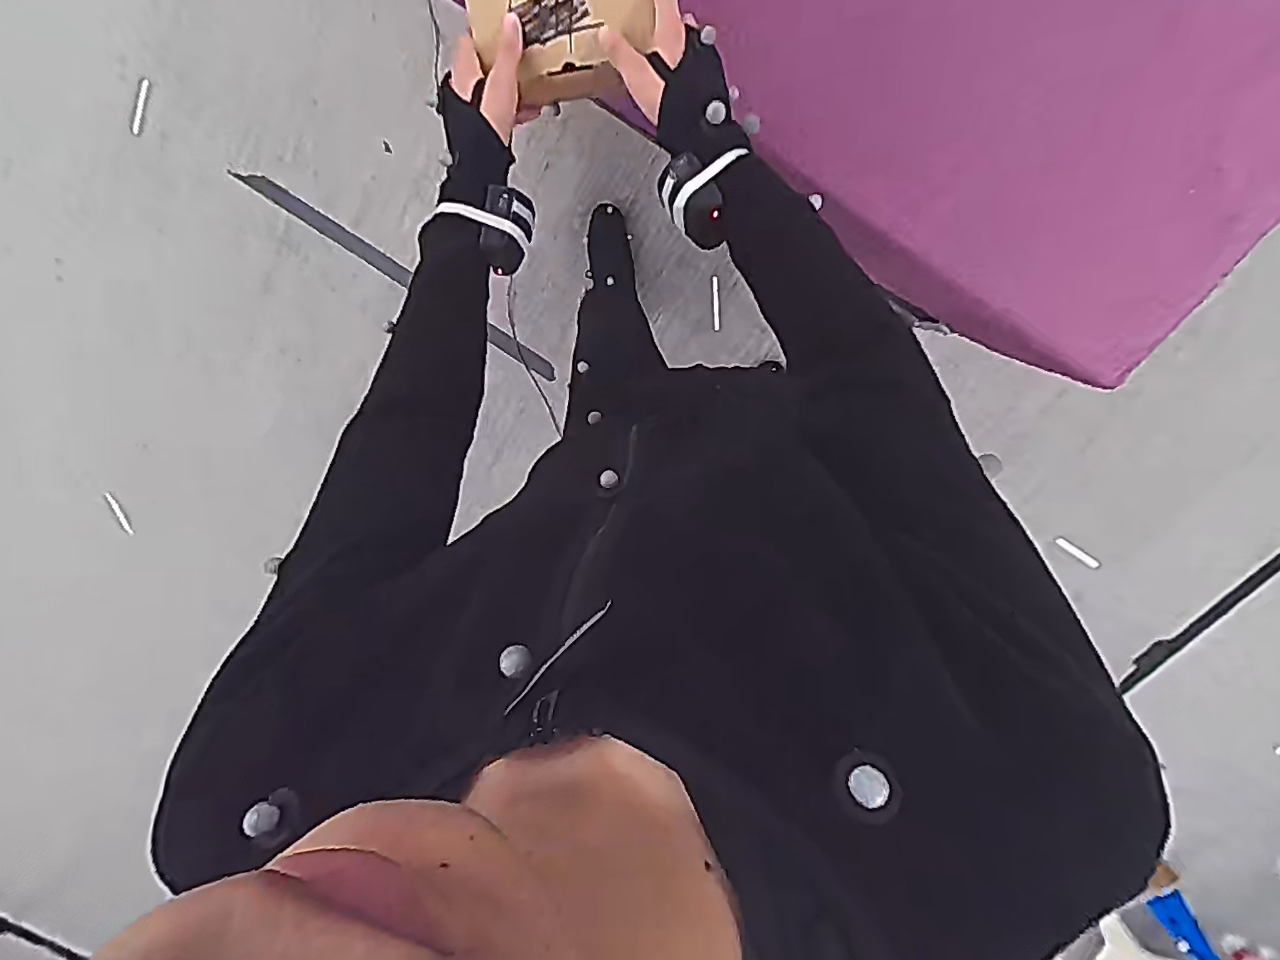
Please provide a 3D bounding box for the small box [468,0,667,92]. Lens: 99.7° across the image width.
[{"bbox_3d":[-0.066,-0.493,0.518,0.168,0.176,0.179,-4,118,9],"label":"small box"}]
